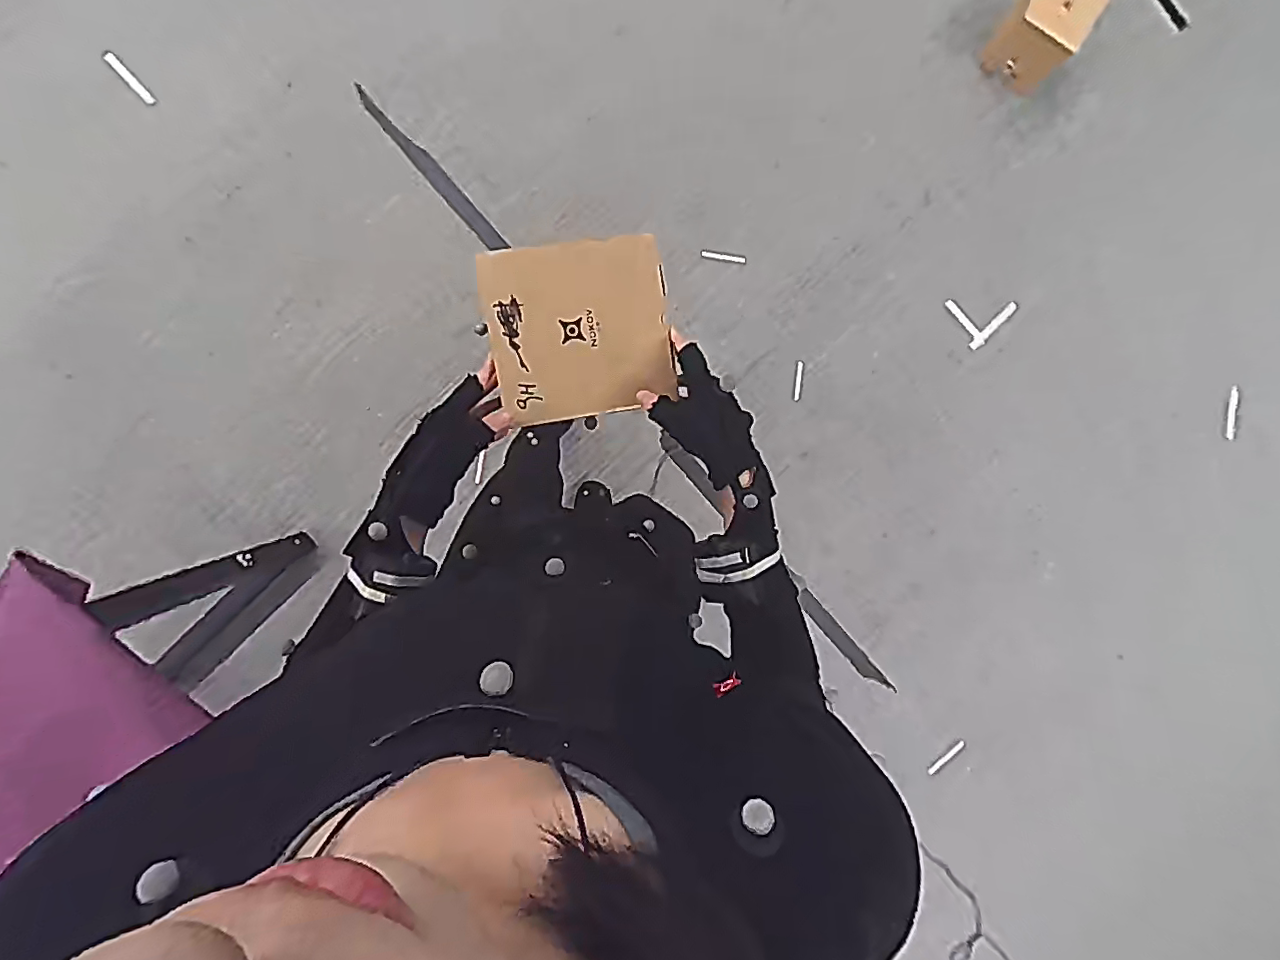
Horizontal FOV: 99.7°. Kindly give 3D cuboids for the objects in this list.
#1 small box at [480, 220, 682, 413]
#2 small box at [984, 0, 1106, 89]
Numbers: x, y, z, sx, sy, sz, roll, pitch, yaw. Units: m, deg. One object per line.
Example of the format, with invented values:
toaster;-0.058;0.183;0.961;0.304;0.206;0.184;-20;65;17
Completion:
small box;-0.064;-0.164;0.587;0.179;0.176;0.168;-8;97;-7
small box;1.040;-1.176;1.396;0.168;0.176;0.179;29;93;-4
